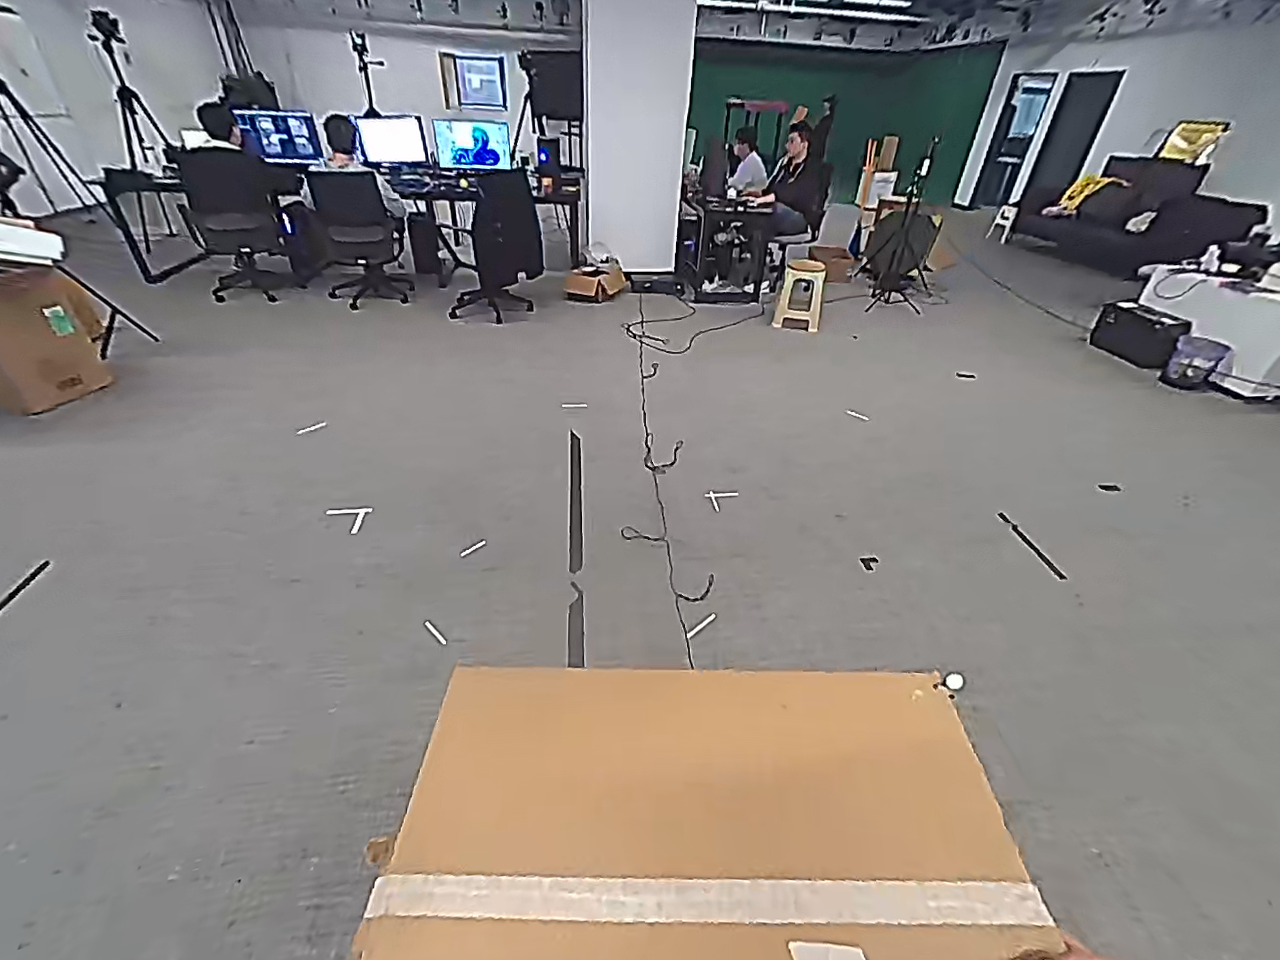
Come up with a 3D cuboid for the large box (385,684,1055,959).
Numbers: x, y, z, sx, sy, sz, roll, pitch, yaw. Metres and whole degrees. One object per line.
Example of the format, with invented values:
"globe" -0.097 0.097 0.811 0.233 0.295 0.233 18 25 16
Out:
"large box" 0.046 0.385 0.430 0.408 0.320 0.320 0 40 0
